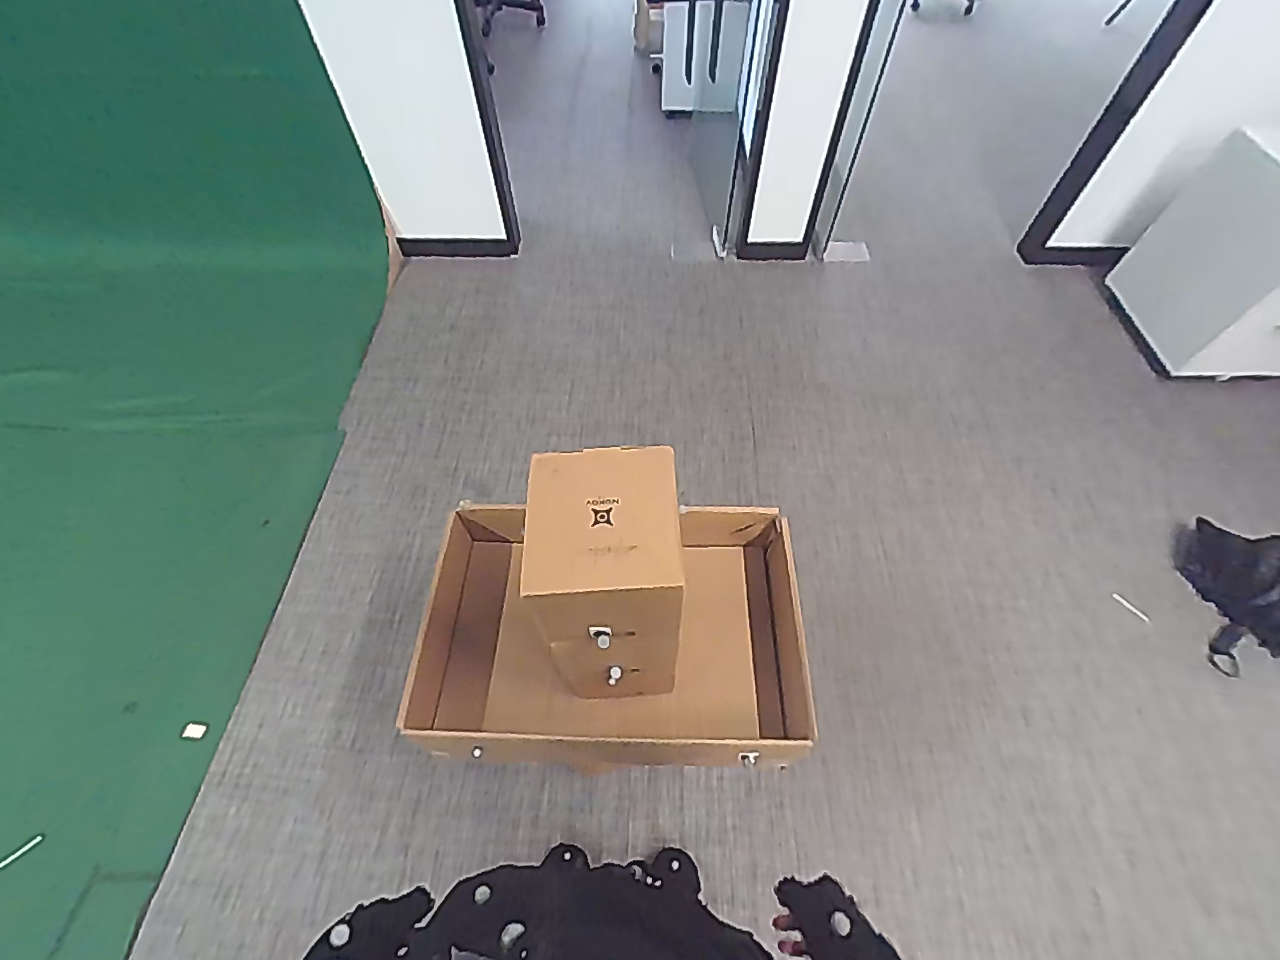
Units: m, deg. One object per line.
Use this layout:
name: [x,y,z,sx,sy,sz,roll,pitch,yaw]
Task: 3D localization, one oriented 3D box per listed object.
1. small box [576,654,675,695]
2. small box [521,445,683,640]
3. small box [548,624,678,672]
small box: [-0.030,0.254,0.926,0.168,0.176,0.179,-4,56,1]
small box: [-0.040,0.079,0.652,0.168,0.176,0.179,-4,57,0]
small box: [-0.036,0.168,0.787,0.168,0.176,0.179,-3,57,0]
